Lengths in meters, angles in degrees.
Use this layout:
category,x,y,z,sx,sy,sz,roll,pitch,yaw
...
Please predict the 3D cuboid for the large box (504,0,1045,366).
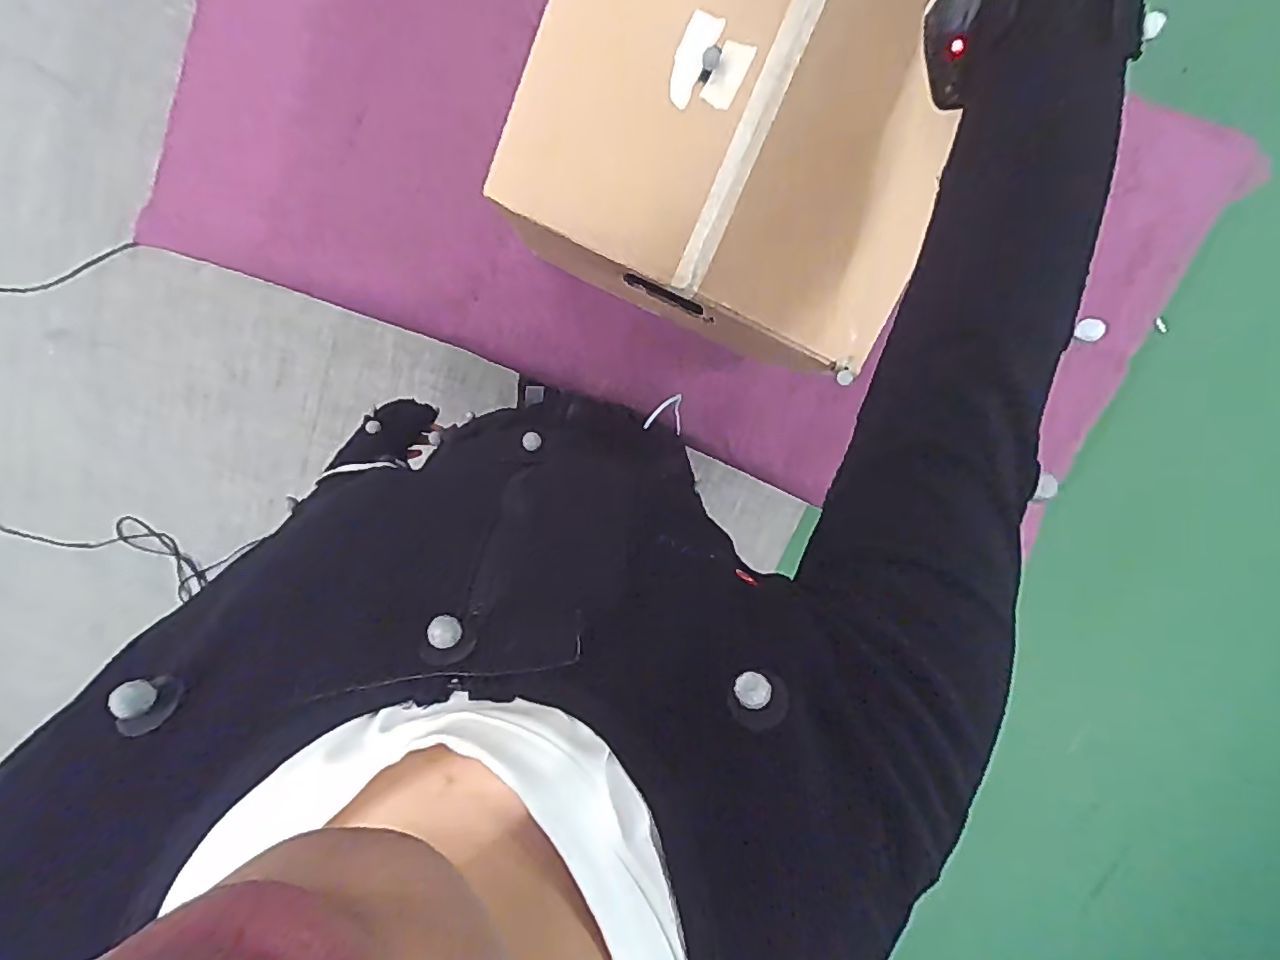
category,x,y,z,sx,sy,sz,roll,pitch,yaw
large box,0.105,-0.368,0.523,0.320,0.320,0.408,23,103,-9
